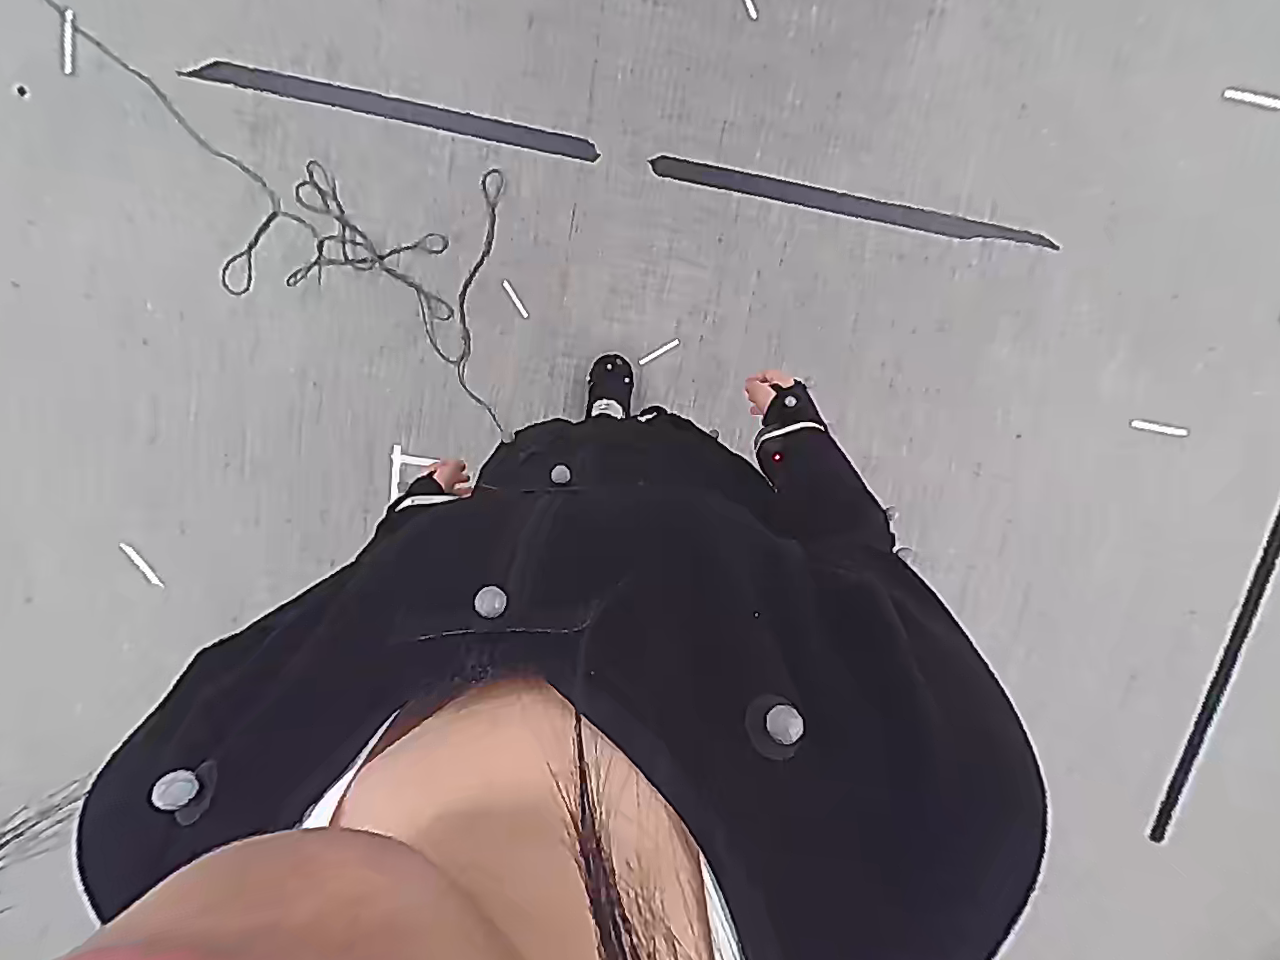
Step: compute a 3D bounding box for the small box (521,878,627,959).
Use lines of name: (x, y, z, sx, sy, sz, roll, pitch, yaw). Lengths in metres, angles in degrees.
small box: (-0.122, 0.855, 0.953, 0.168, 0.176, 0.179, 15, 100, -2)
